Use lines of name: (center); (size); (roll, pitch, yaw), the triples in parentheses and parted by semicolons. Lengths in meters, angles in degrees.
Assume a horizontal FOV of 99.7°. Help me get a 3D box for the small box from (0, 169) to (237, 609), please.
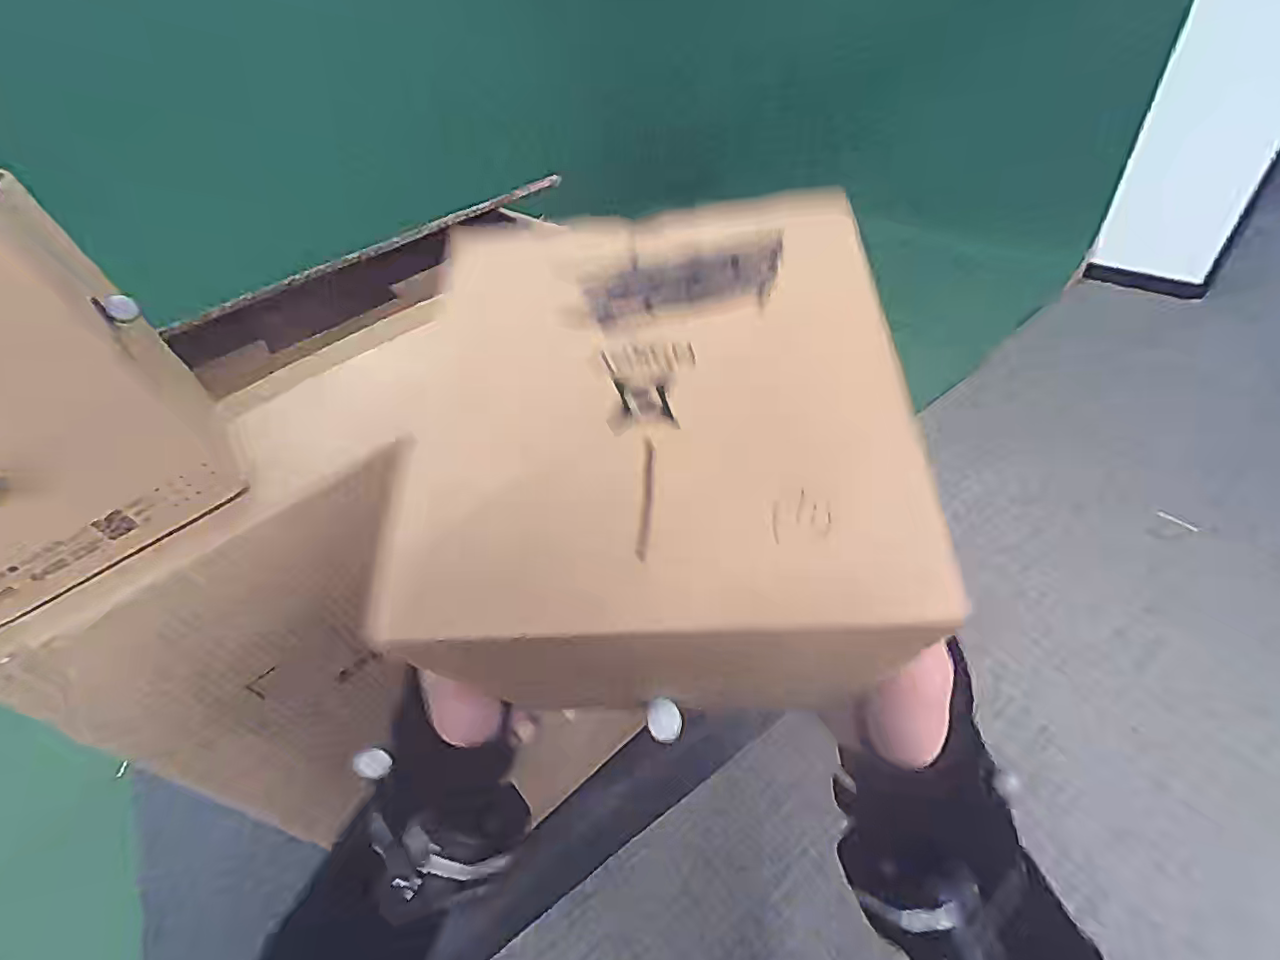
small box: (-0.371, -0.045, 0.302); (0.168, 0.176, 0.179); (-37, 49, -21)
